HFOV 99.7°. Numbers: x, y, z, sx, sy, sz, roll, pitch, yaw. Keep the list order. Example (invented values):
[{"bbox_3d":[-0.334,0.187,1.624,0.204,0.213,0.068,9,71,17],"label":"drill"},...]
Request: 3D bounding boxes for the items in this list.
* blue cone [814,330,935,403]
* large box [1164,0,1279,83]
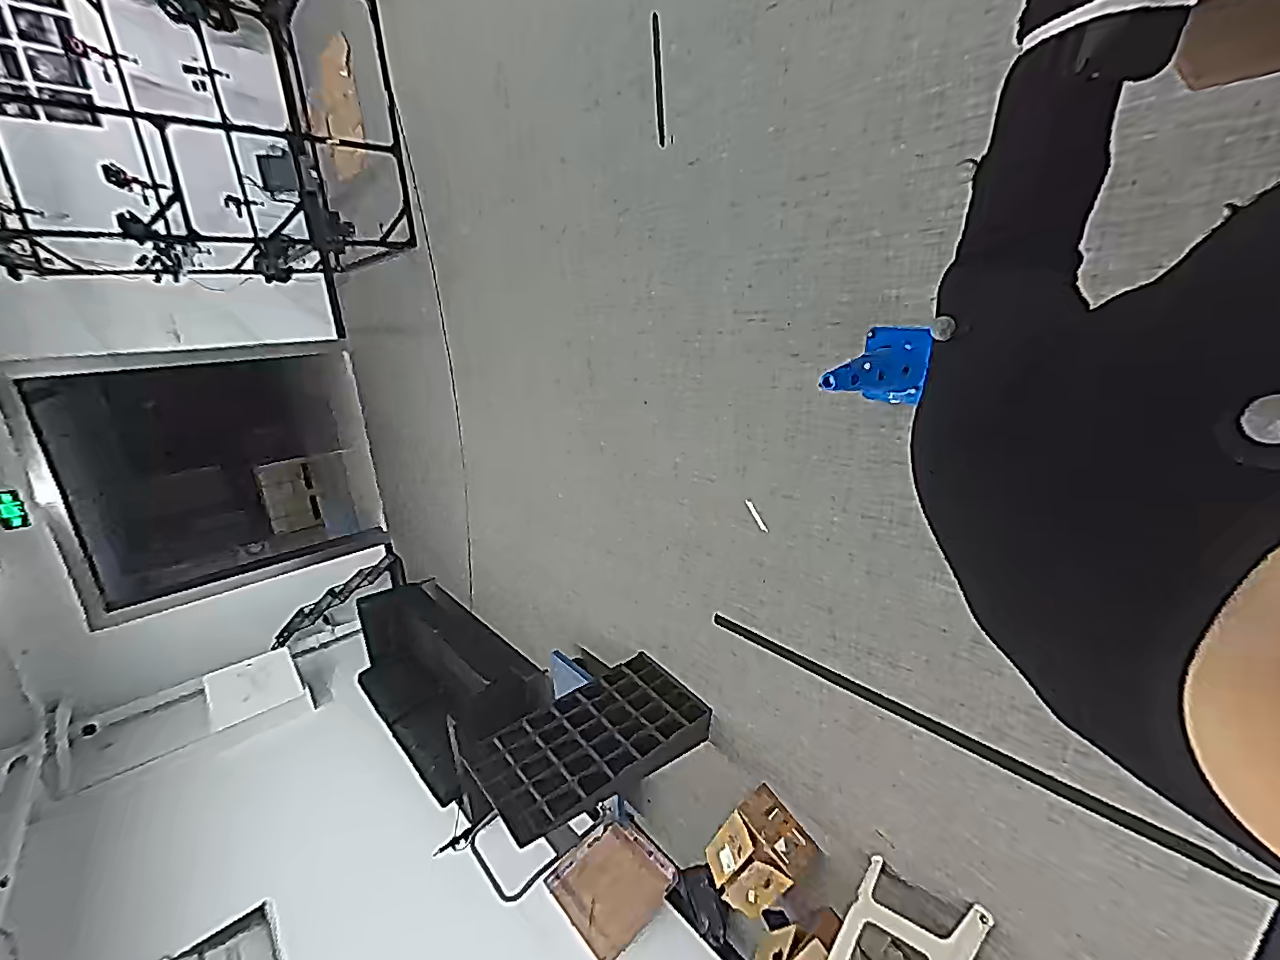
[{"bbox_3d":[0.572,-0.271,1.370,0.192,0.380,0.193,21,119,47],"label":"blue cone"},{"bbox_3d":[0.546,-0.453,0.245,0.408,0.320,0.320,13,117,44],"label":"large box"}]
